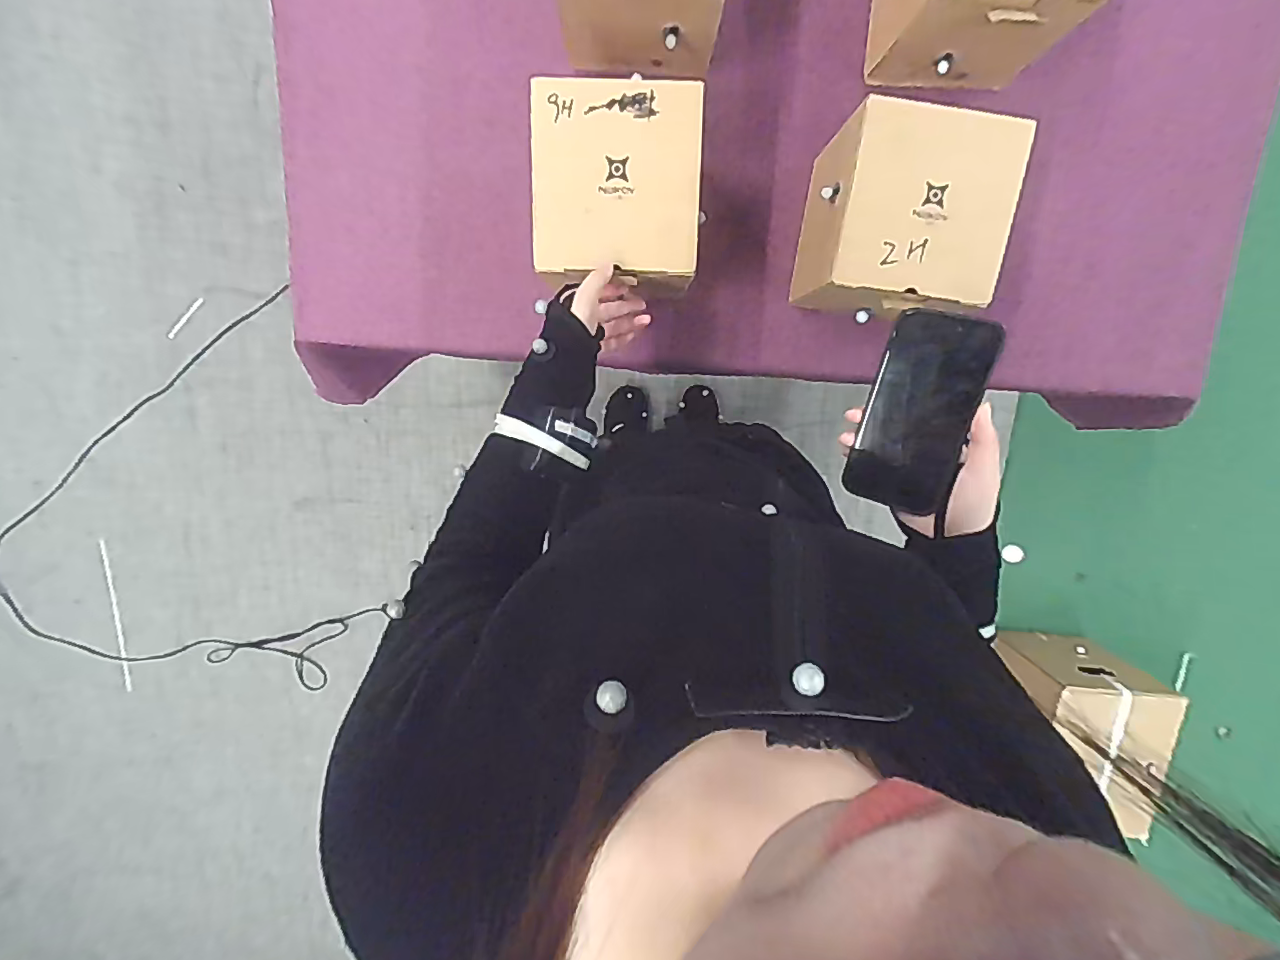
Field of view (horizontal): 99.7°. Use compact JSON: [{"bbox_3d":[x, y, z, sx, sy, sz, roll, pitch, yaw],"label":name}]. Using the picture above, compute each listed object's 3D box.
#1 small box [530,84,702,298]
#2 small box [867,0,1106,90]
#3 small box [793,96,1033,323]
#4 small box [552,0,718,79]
[{"bbox_3d":[-0.024,-0.304,0.606,0.168,0.176,0.179,1,102,0],"label":"small box"},{"bbox_3d":[0.351,-0.543,0.556,0.168,0.176,0.179,1,102,0],"label":"small box"},{"bbox_3d":[0.284,-0.283,0.607,0.168,0.176,0.179,8,101,-1],"label":"small box"},{"bbox_3d":[0.002,-0.552,0.556,0.168,0.176,0.179,3,101,-2],"label":"small box"}]
